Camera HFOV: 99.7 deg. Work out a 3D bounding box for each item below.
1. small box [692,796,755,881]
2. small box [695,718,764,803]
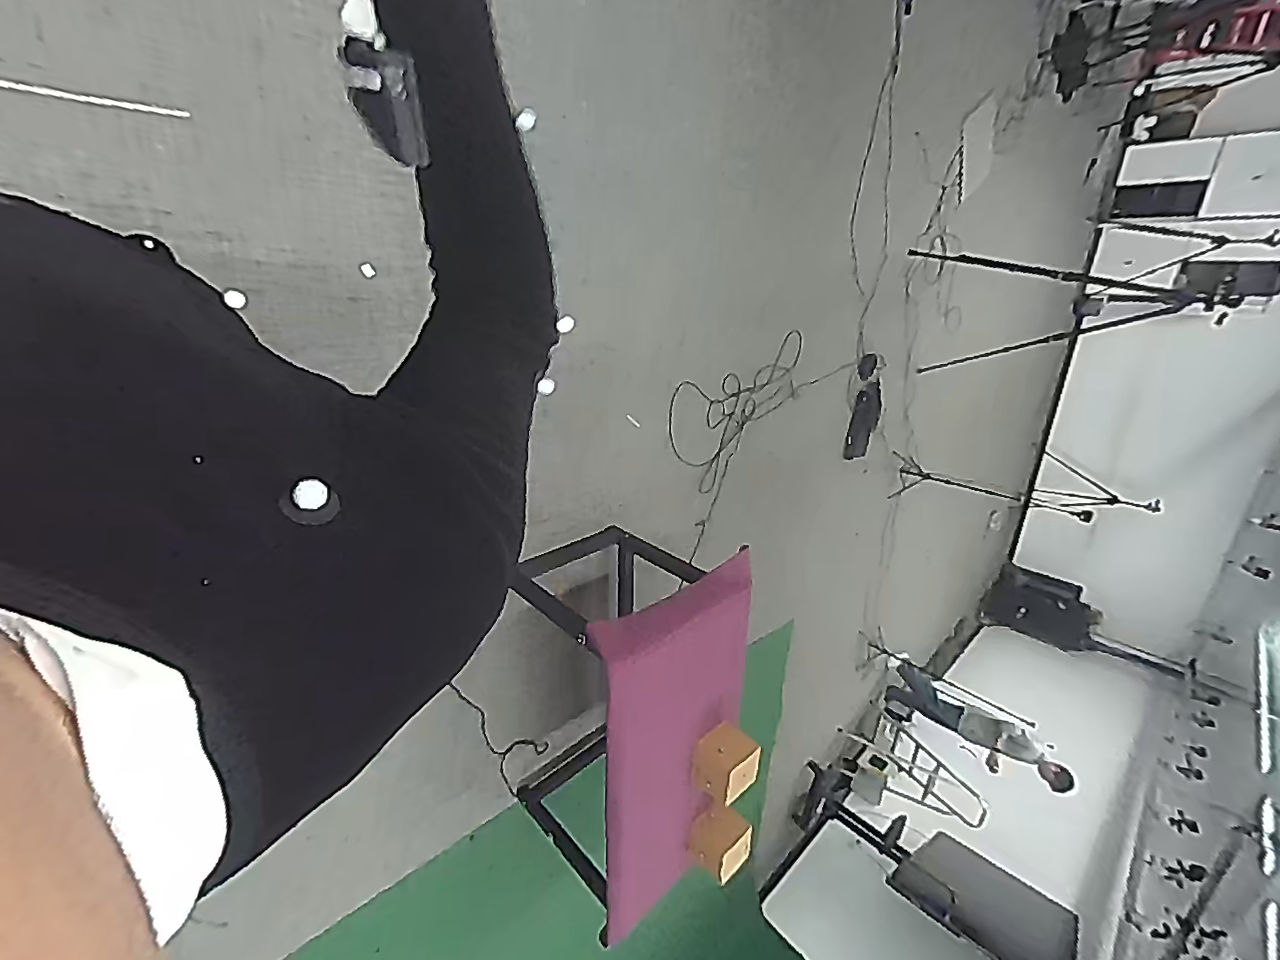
[{"bbox_3d":[0.319,1.382,2.095,0.179,0.176,0.168,-16,117,-39],"label":"small box"},{"bbox_3d":[0.318,1.003,1.945,0.179,0.176,0.168,-14,116,-41],"label":"small box"}]
